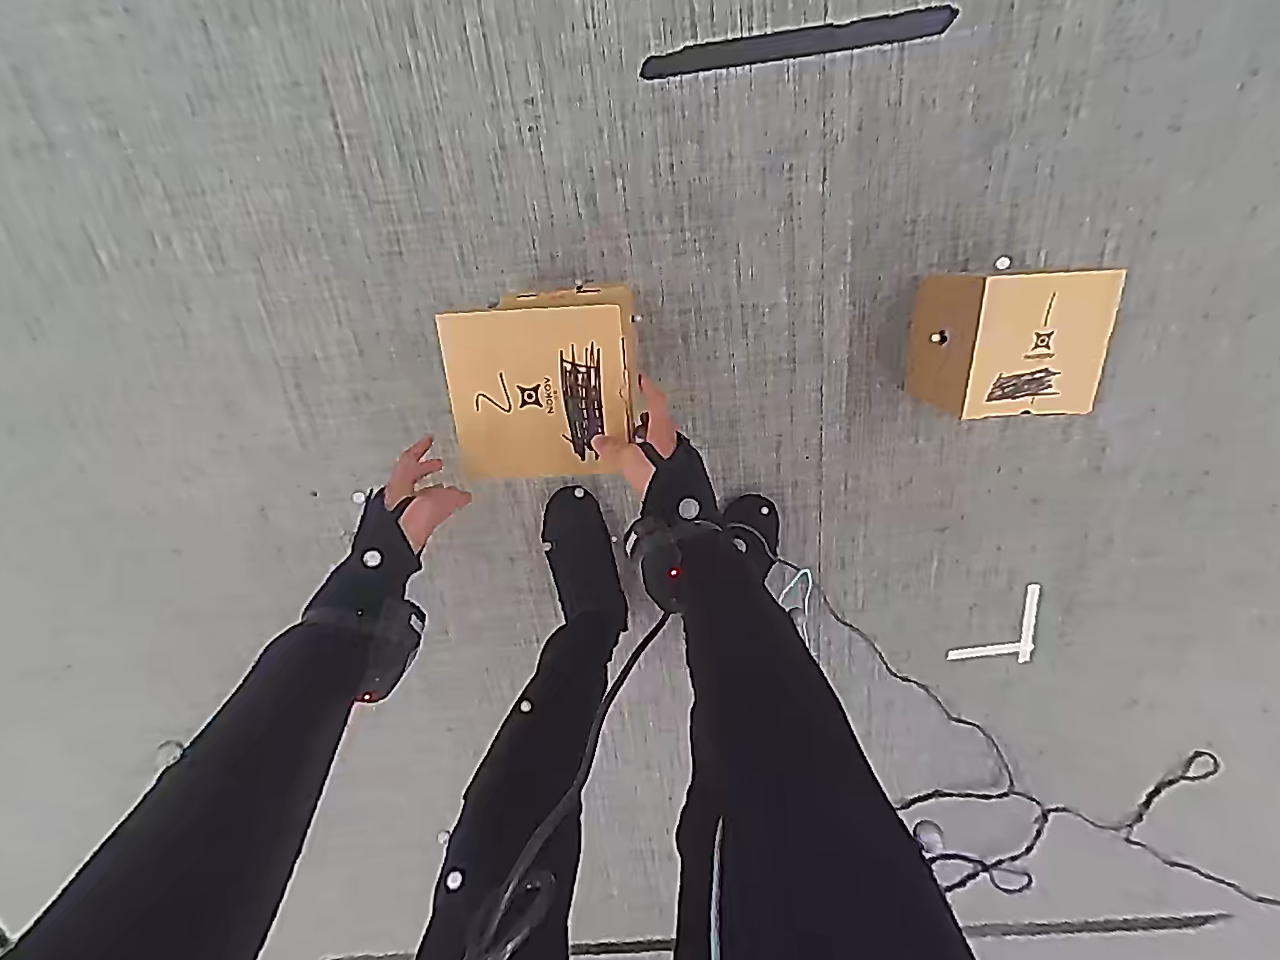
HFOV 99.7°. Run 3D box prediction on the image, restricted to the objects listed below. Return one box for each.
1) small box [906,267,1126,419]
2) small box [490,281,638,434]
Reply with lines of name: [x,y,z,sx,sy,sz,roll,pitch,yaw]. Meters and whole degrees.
small box: [0.483,-0.190,0.729,0.168,0.176,0.179,-2,111,1]
small box: [-0.091,-0.174,0.743,0.168,0.176,0.179,-3,111,3]
